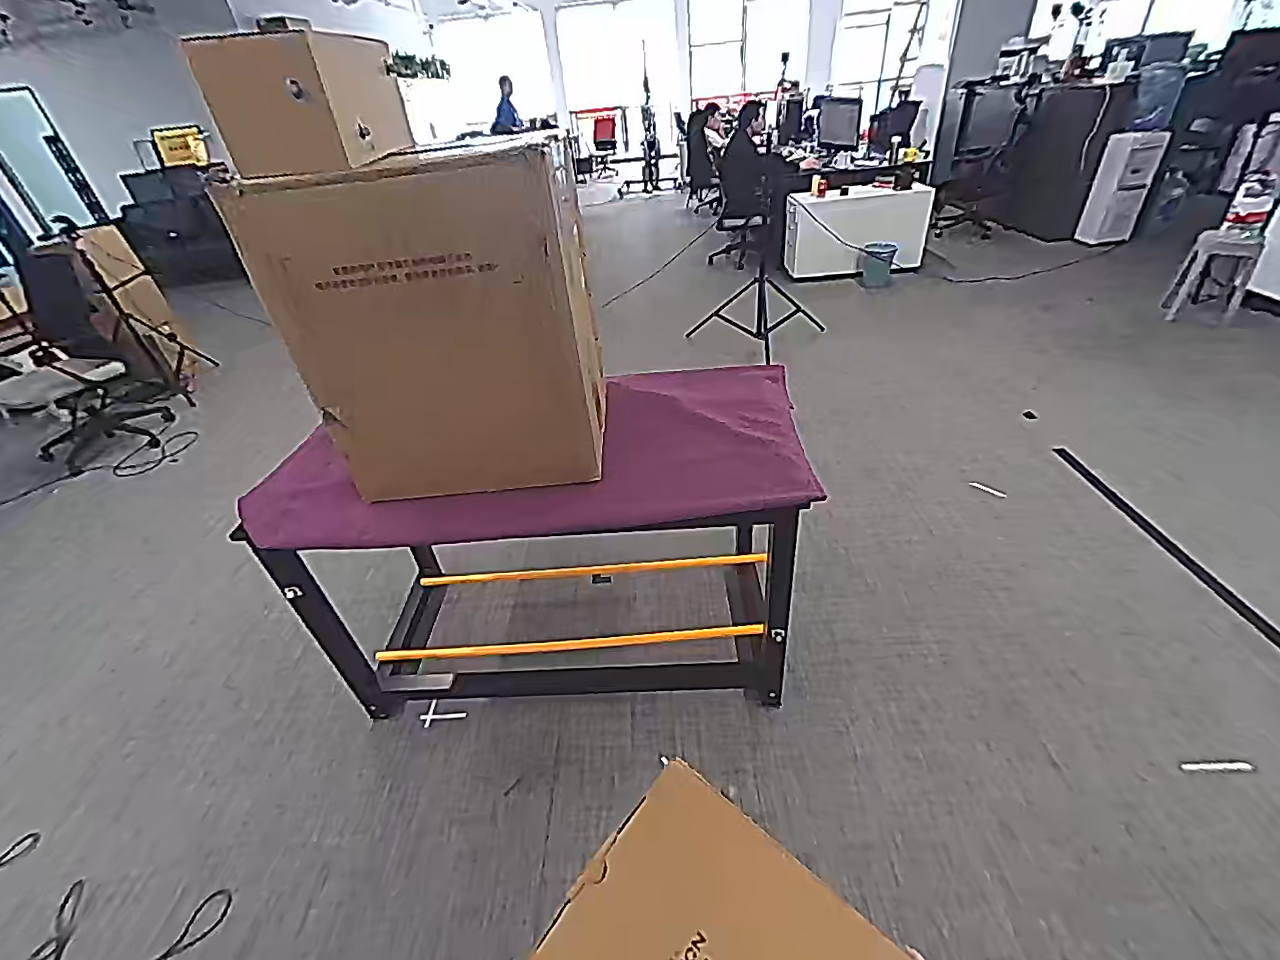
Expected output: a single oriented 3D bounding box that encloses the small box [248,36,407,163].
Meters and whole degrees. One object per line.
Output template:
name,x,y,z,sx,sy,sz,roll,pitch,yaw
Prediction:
small box,-0.546,-0.682,0.980,0.168,0.176,0.179,-5,35,2
